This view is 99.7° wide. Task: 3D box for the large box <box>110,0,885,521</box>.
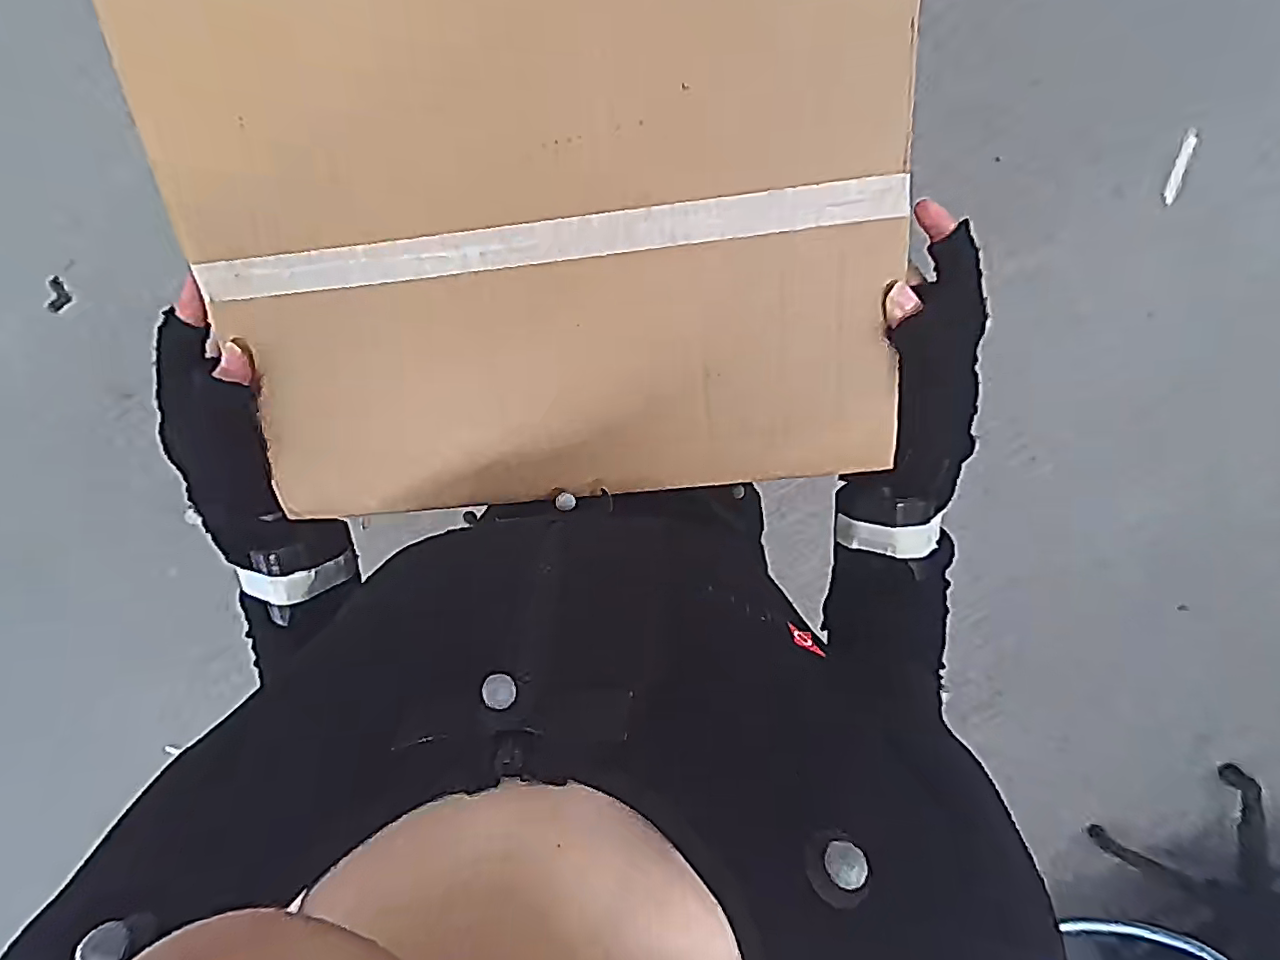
[{"bbox_3d":[-0.055,-0.188,0.455,0.408,0.320,0.320,-6,110,4],"label":"large box"}]
